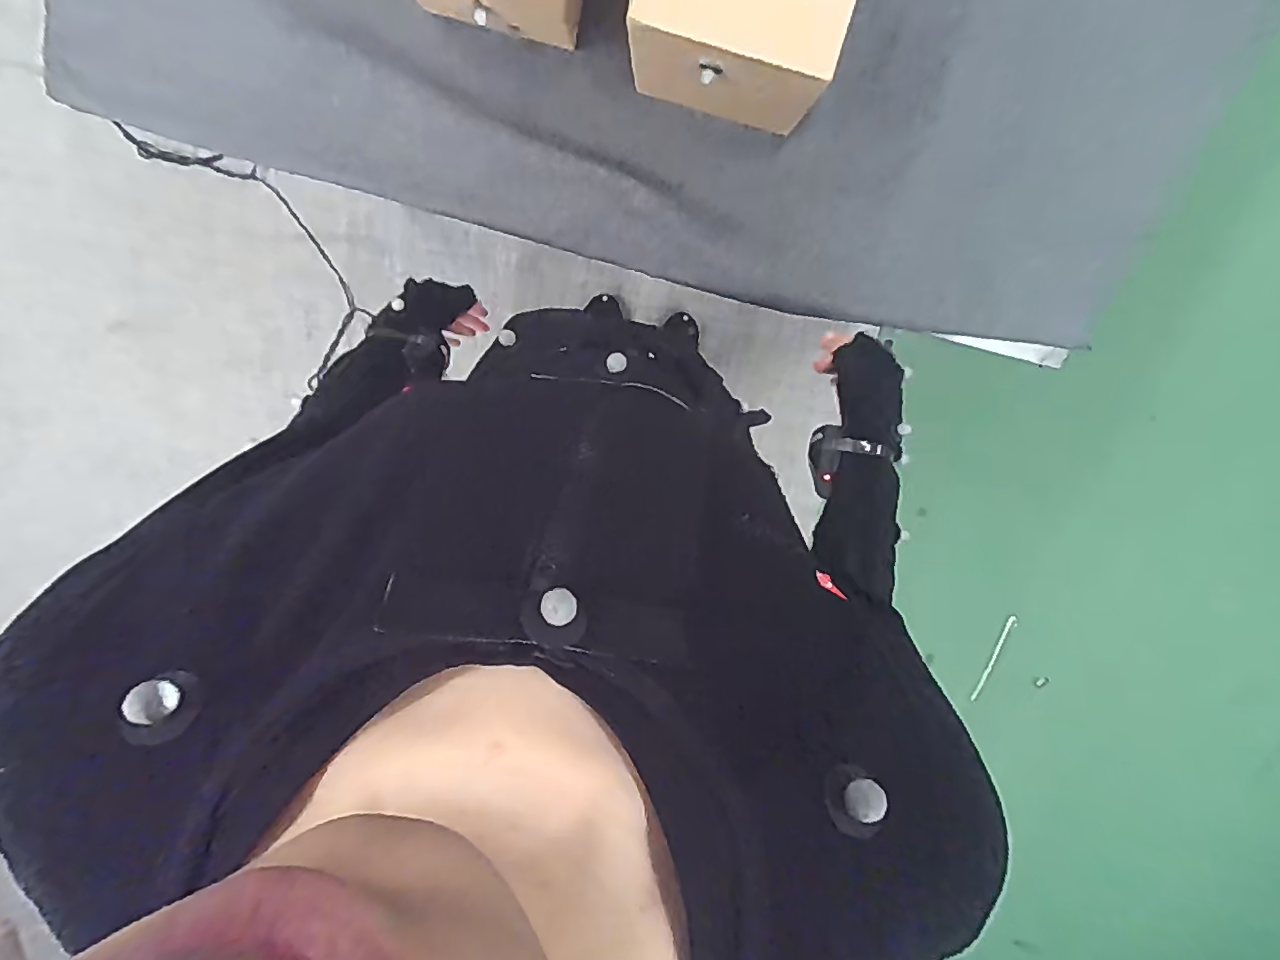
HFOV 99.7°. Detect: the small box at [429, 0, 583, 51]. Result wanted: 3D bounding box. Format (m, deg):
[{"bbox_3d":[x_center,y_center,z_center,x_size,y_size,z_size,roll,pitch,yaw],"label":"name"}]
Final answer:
[{"bbox_3d":[-0.132,-0.530,0.474,0.168,0.176,0.179,14,109,-2],"label":"small box"}]
